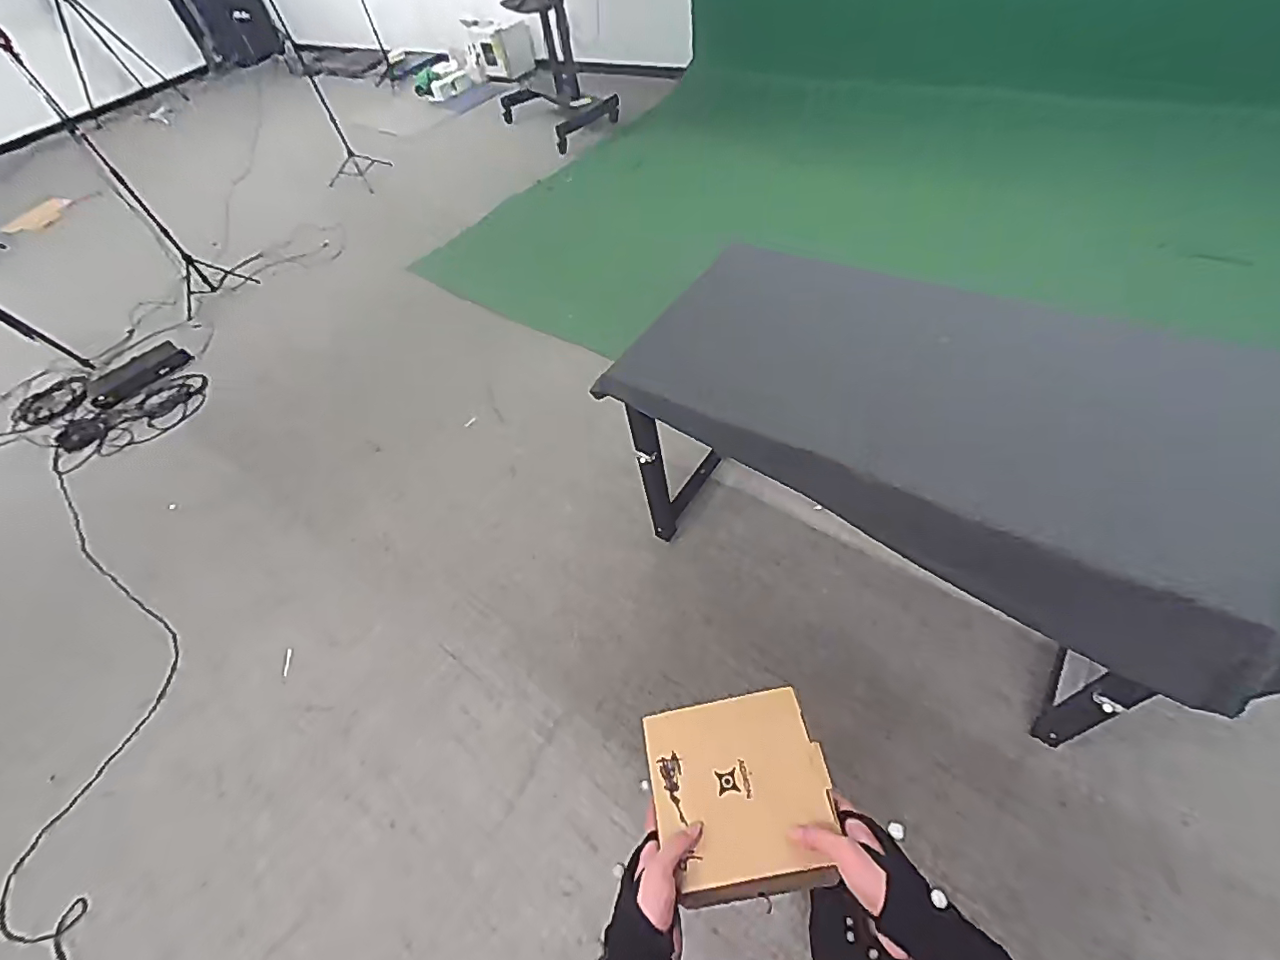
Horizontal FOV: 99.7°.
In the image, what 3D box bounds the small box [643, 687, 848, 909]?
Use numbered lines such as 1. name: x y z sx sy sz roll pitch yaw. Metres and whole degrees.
1. small box: 0.108 0.357 0.604 0.179 0.176 0.168 -12 45 2
